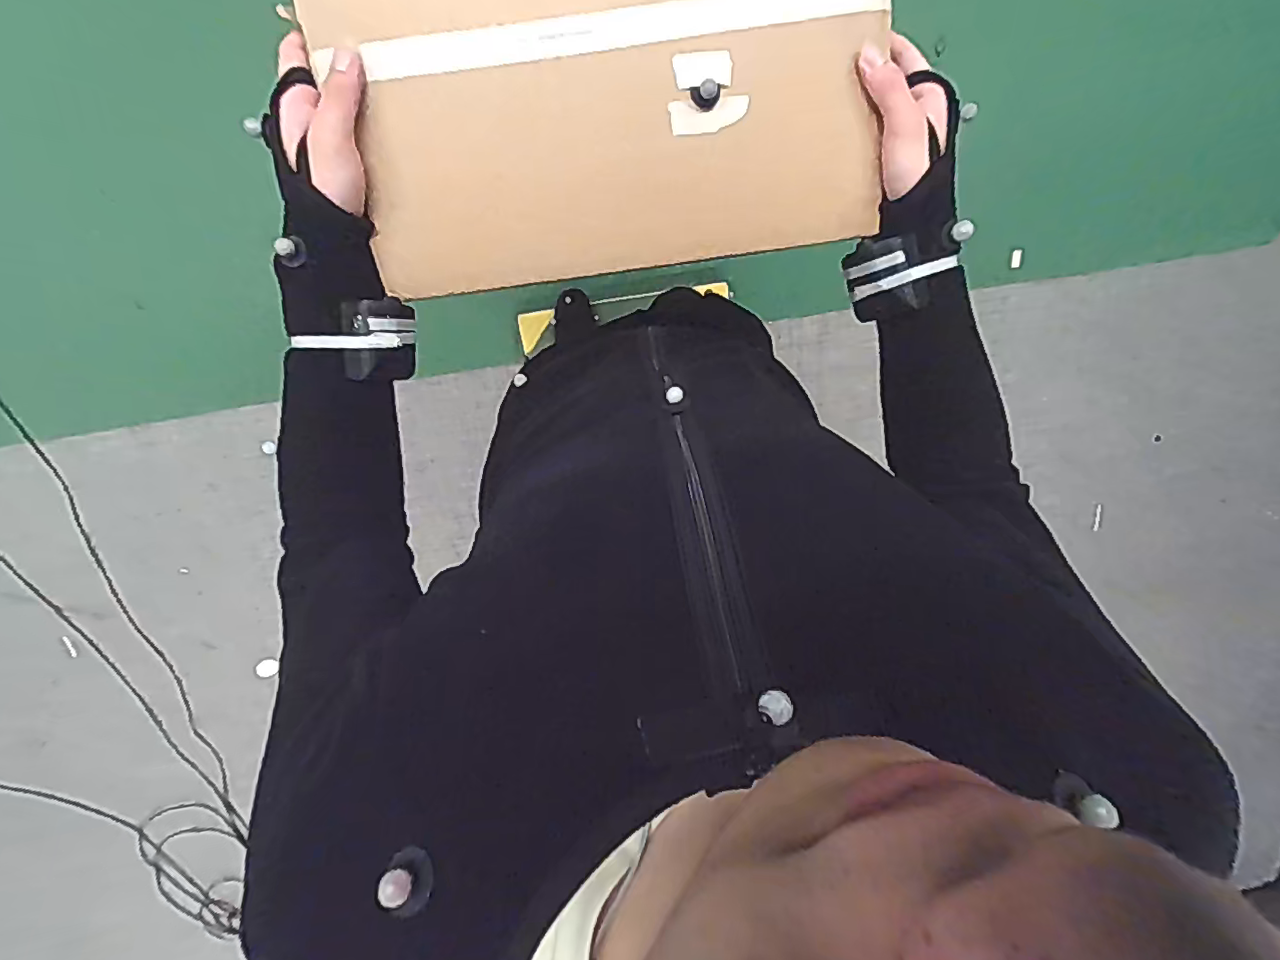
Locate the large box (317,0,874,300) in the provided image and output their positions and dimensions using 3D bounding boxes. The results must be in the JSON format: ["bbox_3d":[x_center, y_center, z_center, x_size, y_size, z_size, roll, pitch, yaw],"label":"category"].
[{"bbox_3d":[-0.036,-0.377,0.532,0.408,0.320,0.320,-9,113,-1],"label":"large box"}]
